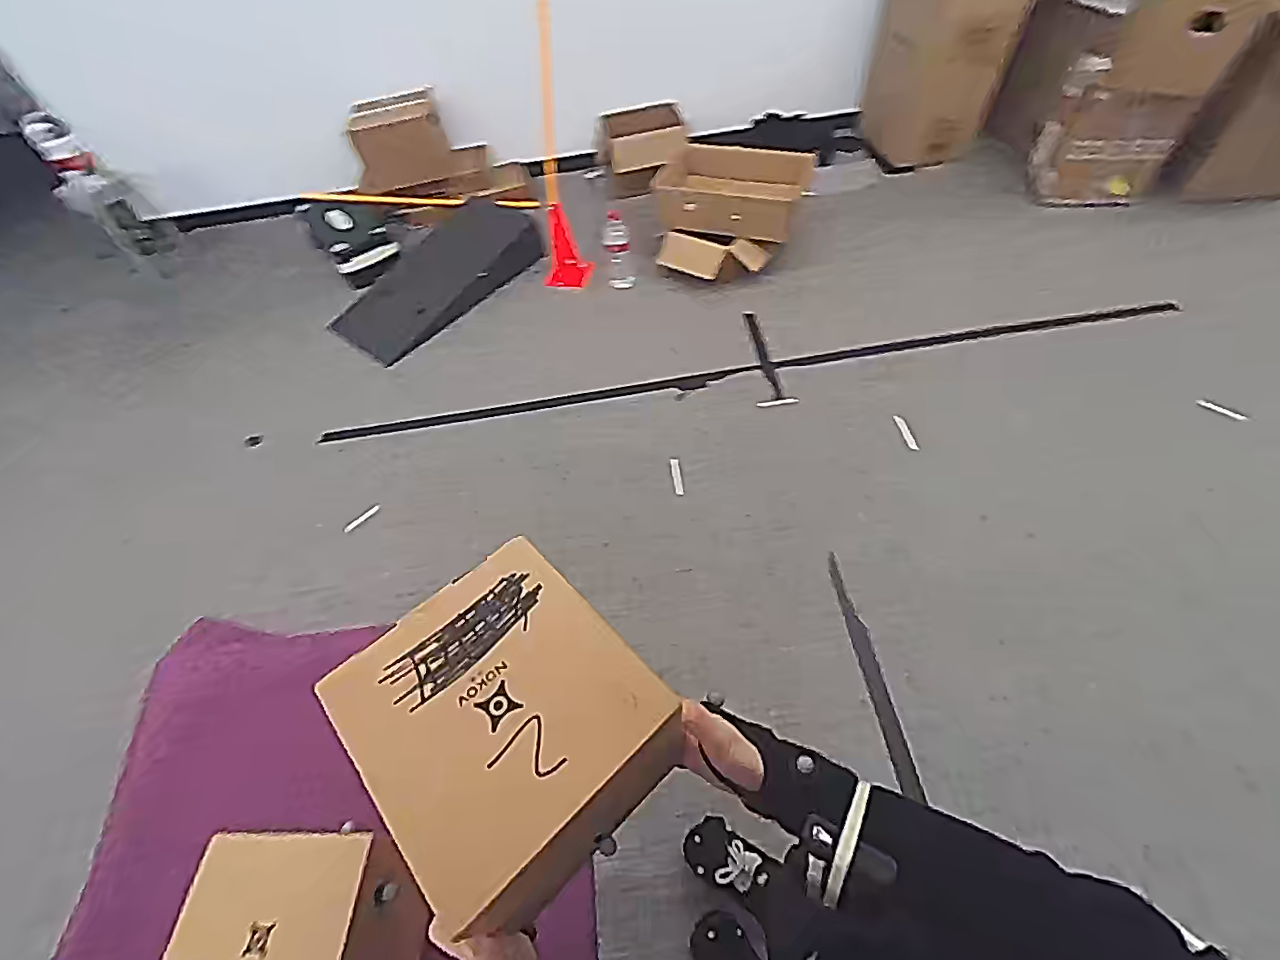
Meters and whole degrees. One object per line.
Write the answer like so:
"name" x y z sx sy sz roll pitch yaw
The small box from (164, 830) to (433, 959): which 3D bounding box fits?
"small box" -0.328 0.458 0.538 0.168 0.176 0.179 -4 54 6
